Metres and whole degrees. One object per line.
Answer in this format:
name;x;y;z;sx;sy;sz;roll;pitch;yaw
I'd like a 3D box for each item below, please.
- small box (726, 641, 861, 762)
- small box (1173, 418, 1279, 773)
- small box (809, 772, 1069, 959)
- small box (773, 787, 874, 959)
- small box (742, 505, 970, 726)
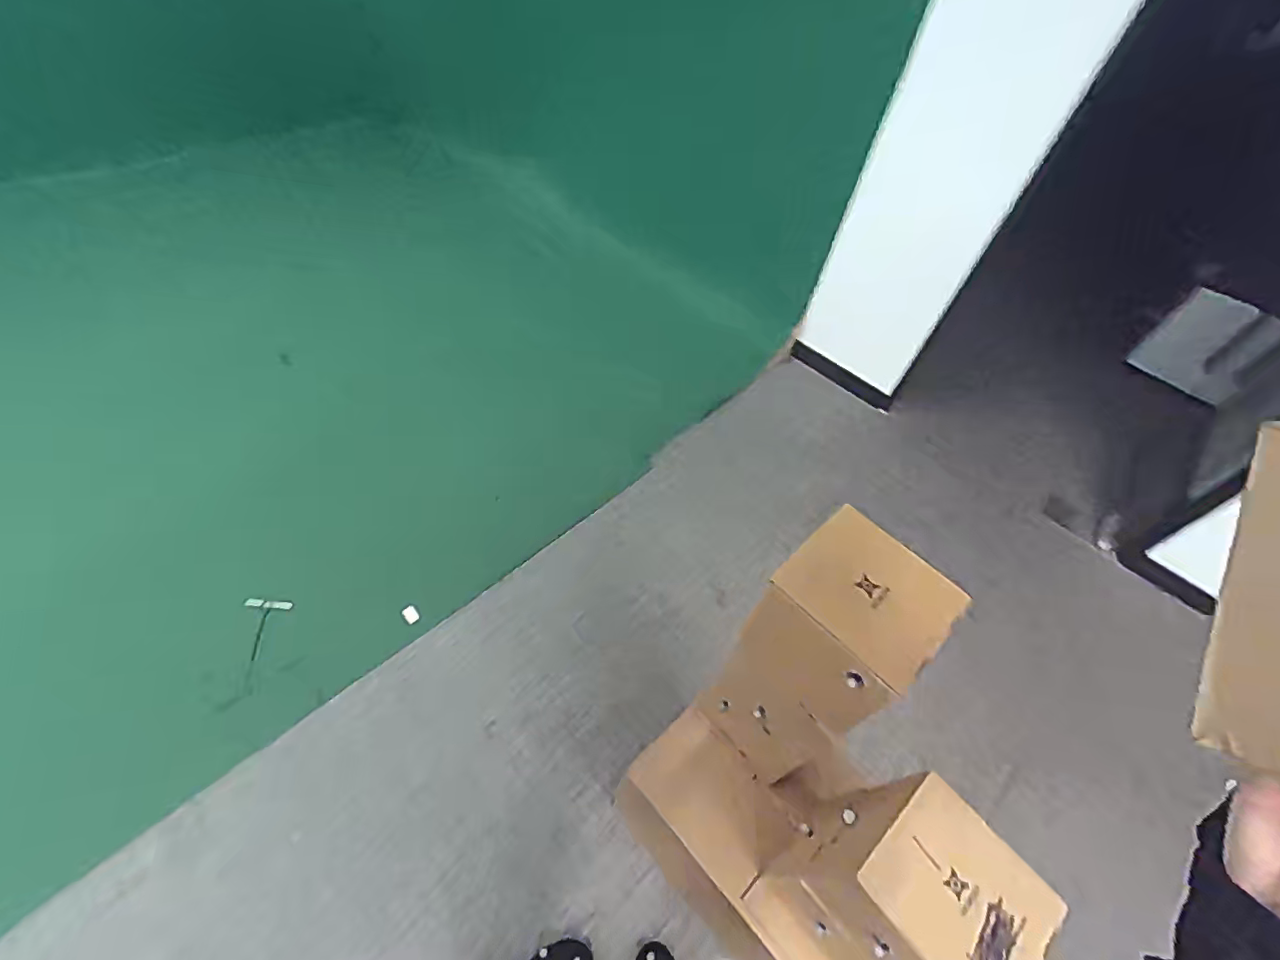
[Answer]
small box;0.251;0.279;0.798;0.179;0.176;0.168;-29;60;-25
small box;0.372;0.071;0.202;0.176;0.179;0.168;24;82;-14
small box;0.338;0.489;0.644;0.168;0.176;0.179;-32;62;-26
small box;0.319;0.585;0.775;0.168;0.176;0.179;-33;62;-25
small box;0.253;0.172;0.674;0.168;0.176;0.179;-35;63;-28
